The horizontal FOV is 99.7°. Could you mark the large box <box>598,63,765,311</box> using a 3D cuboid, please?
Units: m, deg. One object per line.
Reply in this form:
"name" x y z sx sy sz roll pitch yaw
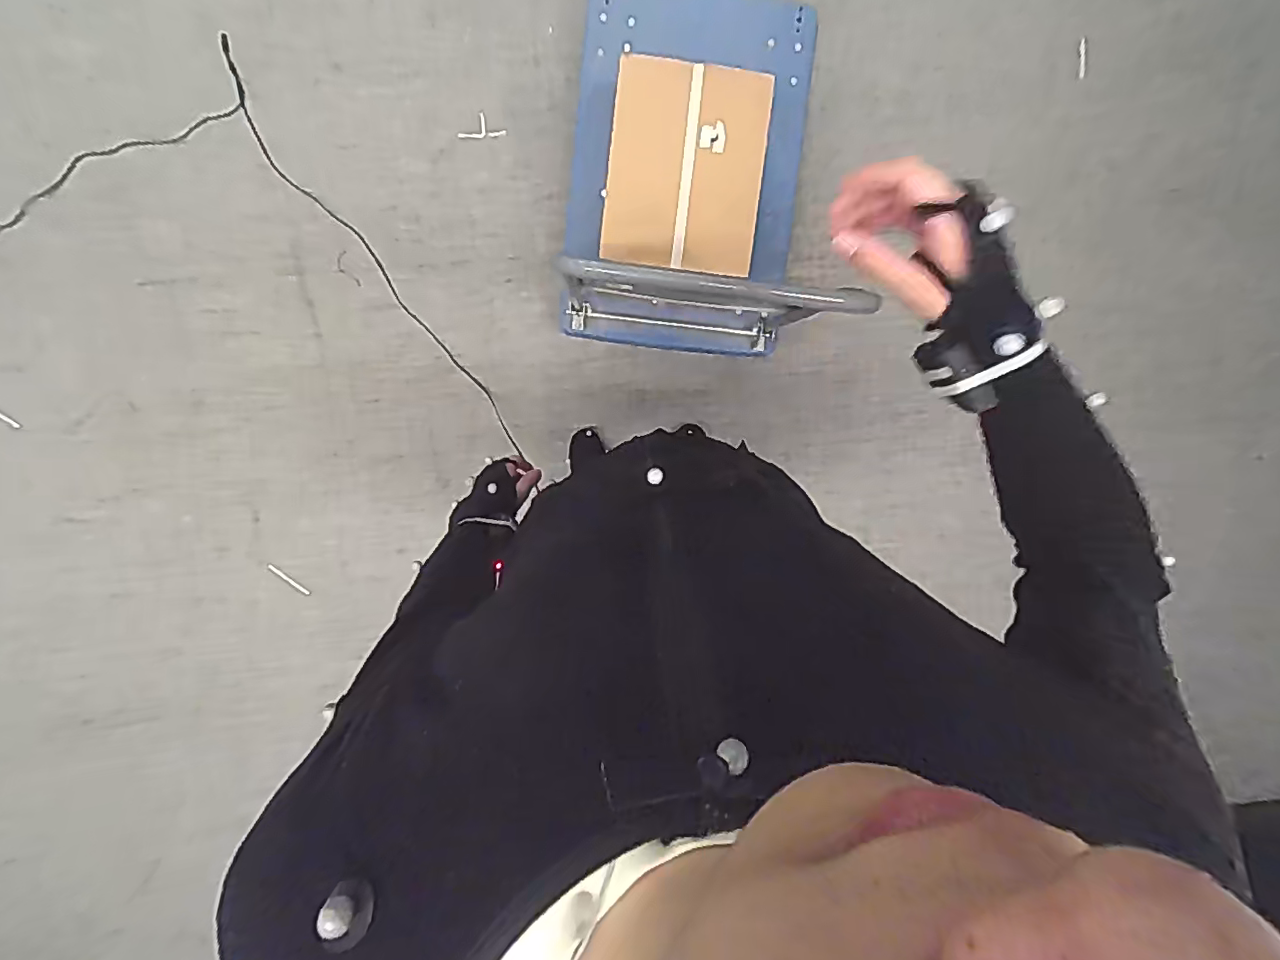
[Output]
"large box" 0.079 -0.638 1.254 0.320 0.320 0.408 6 94 -4
